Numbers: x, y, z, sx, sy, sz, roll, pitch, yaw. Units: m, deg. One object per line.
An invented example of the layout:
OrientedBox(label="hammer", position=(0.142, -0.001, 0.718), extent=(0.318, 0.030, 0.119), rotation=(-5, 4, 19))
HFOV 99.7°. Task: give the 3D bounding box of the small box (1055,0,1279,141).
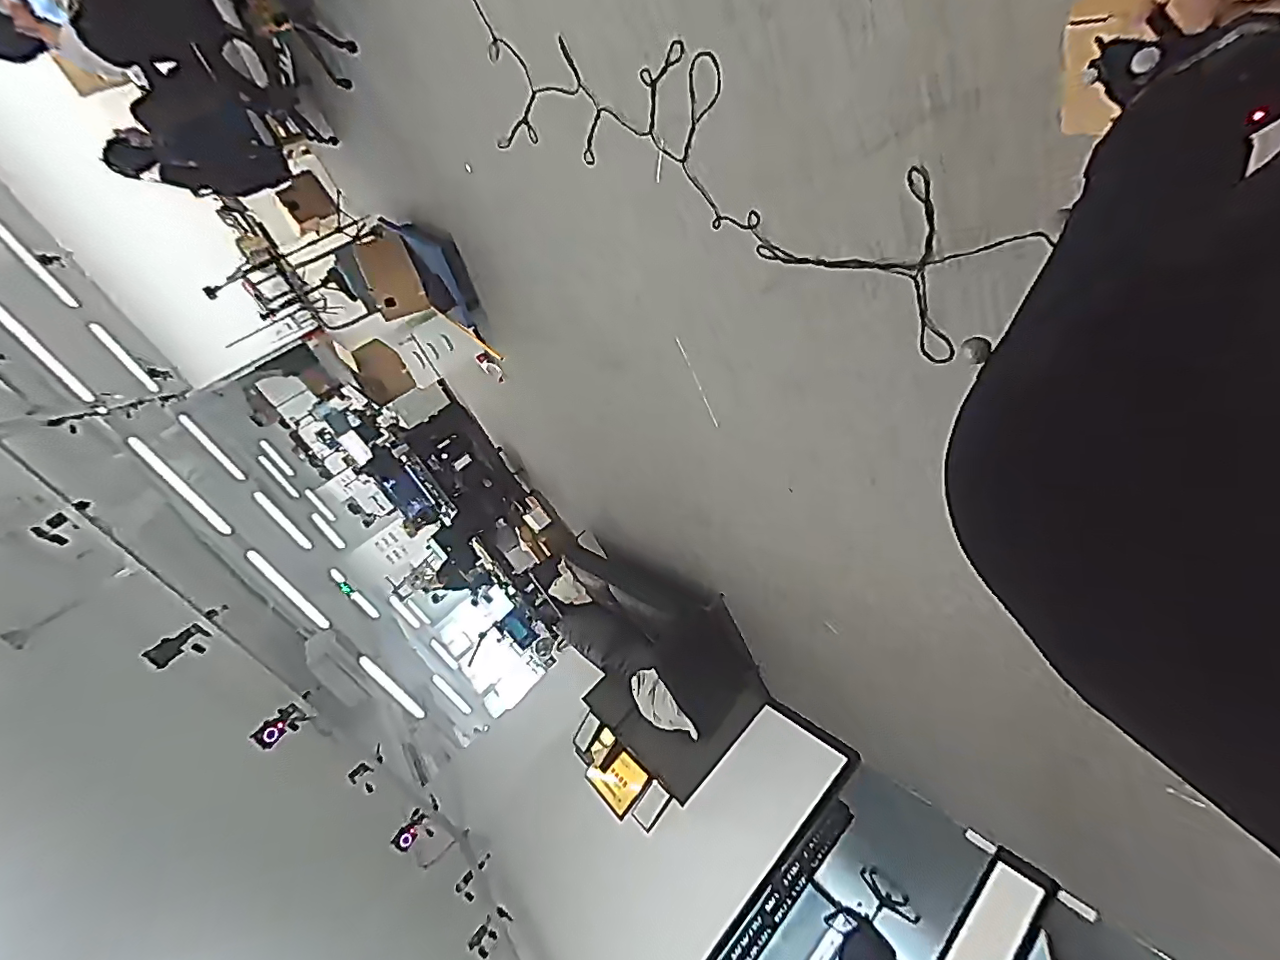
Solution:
OrientedBox(label="small box", position=(0.525, -0.454, 0.506), extent=(0.168, 0.176, 0.179), rotation=(27, -170, 35))
